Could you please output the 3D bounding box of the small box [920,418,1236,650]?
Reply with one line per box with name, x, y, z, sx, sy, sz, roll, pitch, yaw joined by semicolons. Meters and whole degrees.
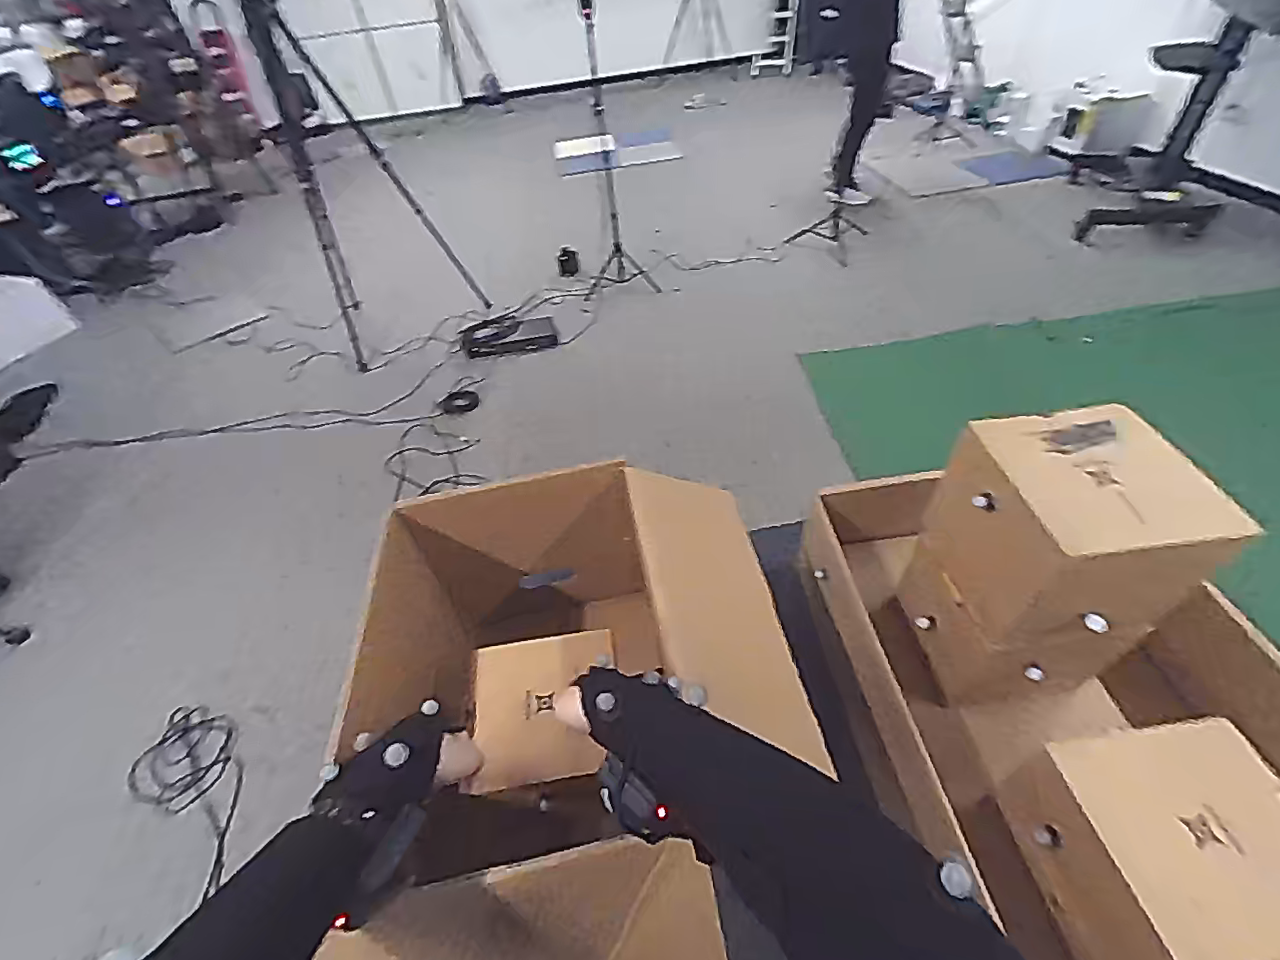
small box;0.434;0.058;0.581;0.168;0.176;0.179;-7;47;1
